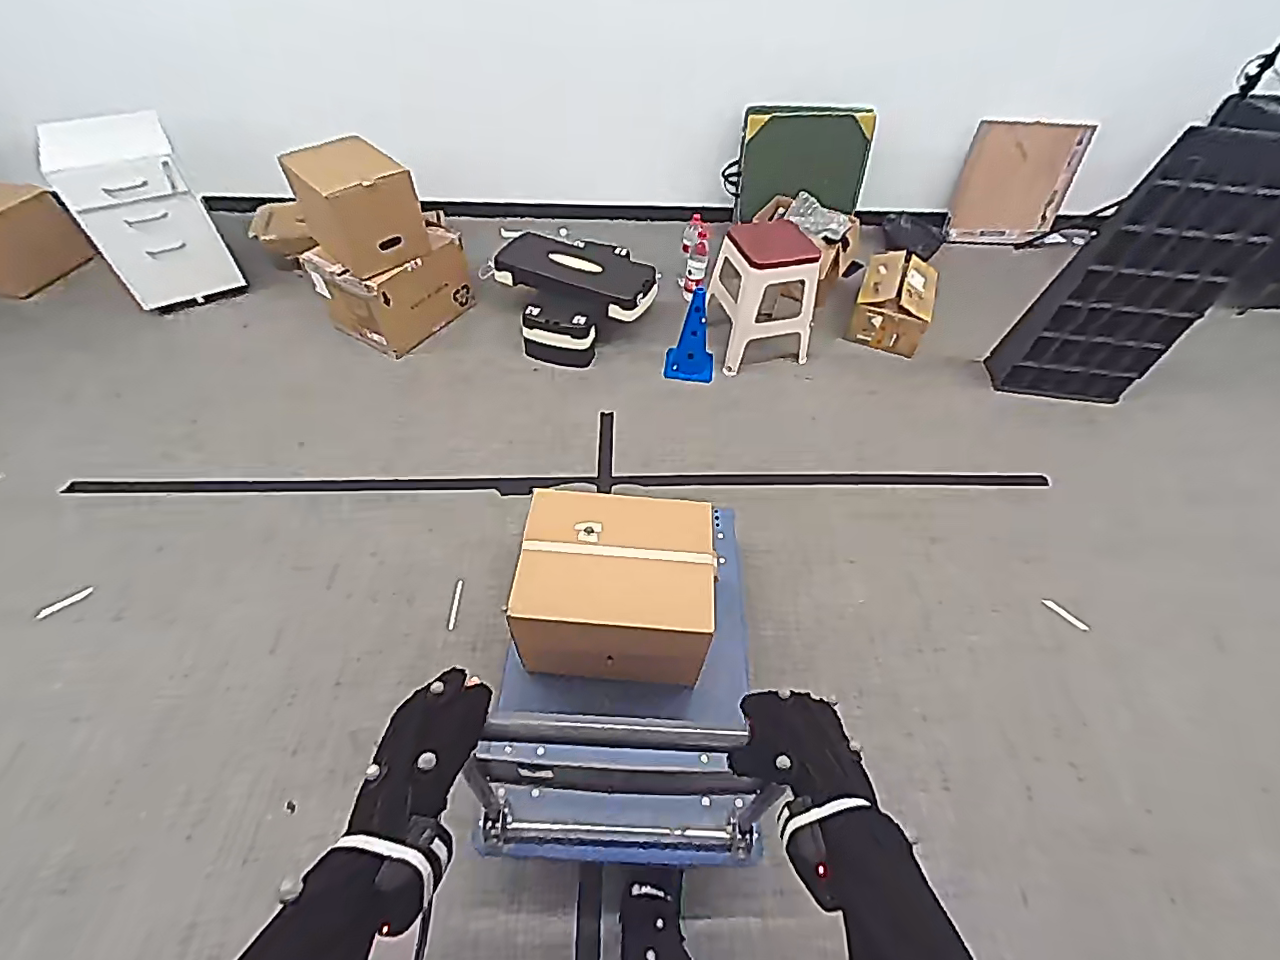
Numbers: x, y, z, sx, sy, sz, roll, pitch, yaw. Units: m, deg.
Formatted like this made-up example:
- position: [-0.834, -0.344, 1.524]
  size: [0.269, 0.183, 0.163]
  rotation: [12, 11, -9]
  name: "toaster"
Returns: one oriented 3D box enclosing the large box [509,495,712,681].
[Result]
- position: [-0.052, 0.256, 1.254]
  size: [0.408, 0.320, 0.320]
  rotation: [4, 51, 1]
  name: "large box"
